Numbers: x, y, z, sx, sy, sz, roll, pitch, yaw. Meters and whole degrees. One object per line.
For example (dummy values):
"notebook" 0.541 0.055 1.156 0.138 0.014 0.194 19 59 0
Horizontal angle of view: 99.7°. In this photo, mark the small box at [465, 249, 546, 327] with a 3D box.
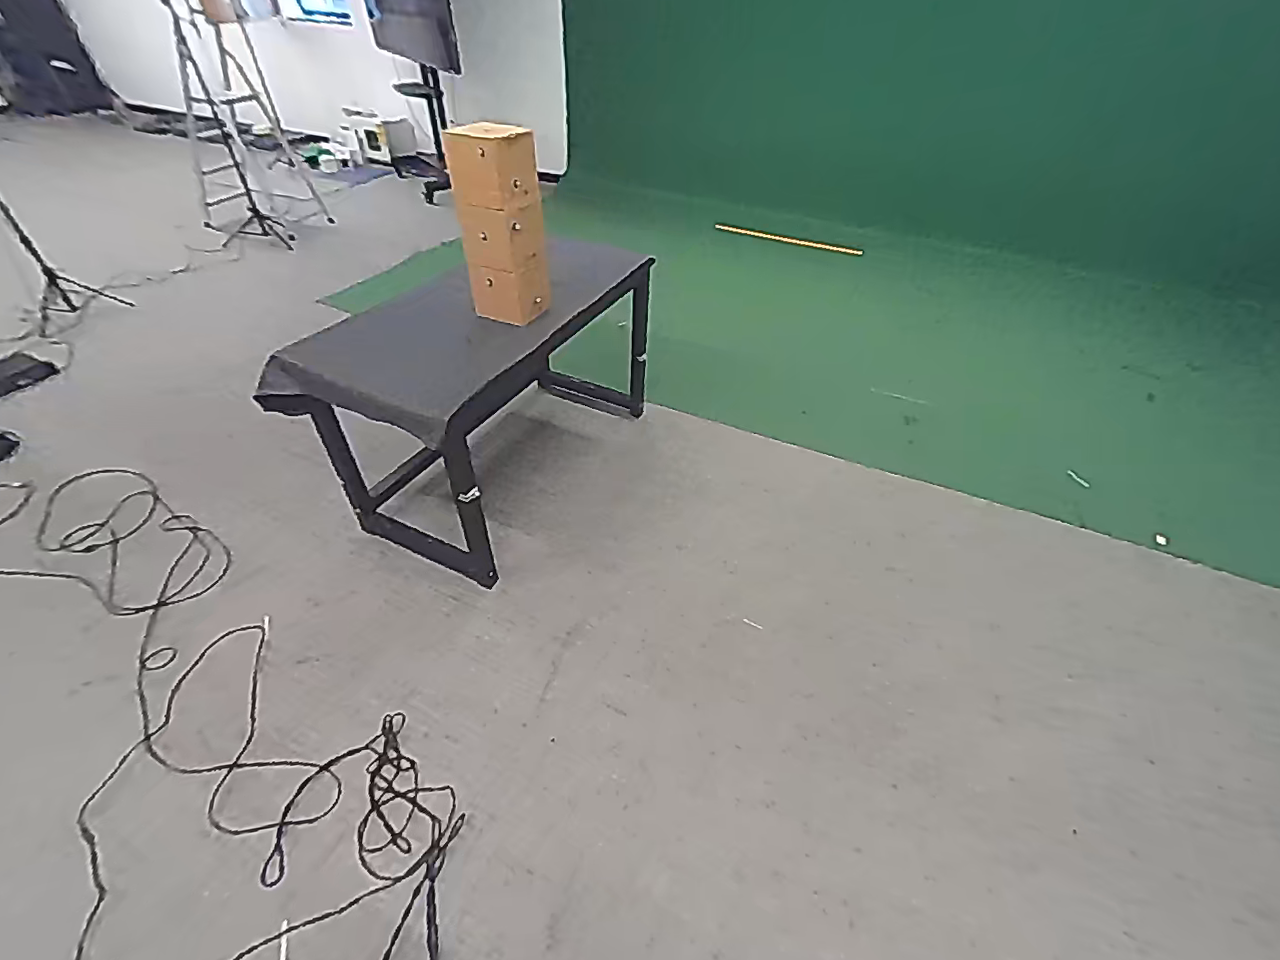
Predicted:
"small box" -0.412 -0.594 1.678 0.179 0.176 0.168 18 45 16

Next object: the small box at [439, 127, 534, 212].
"small box" -0.408 -0.841 1.463 0.179 0.176 0.168 20 45 19
